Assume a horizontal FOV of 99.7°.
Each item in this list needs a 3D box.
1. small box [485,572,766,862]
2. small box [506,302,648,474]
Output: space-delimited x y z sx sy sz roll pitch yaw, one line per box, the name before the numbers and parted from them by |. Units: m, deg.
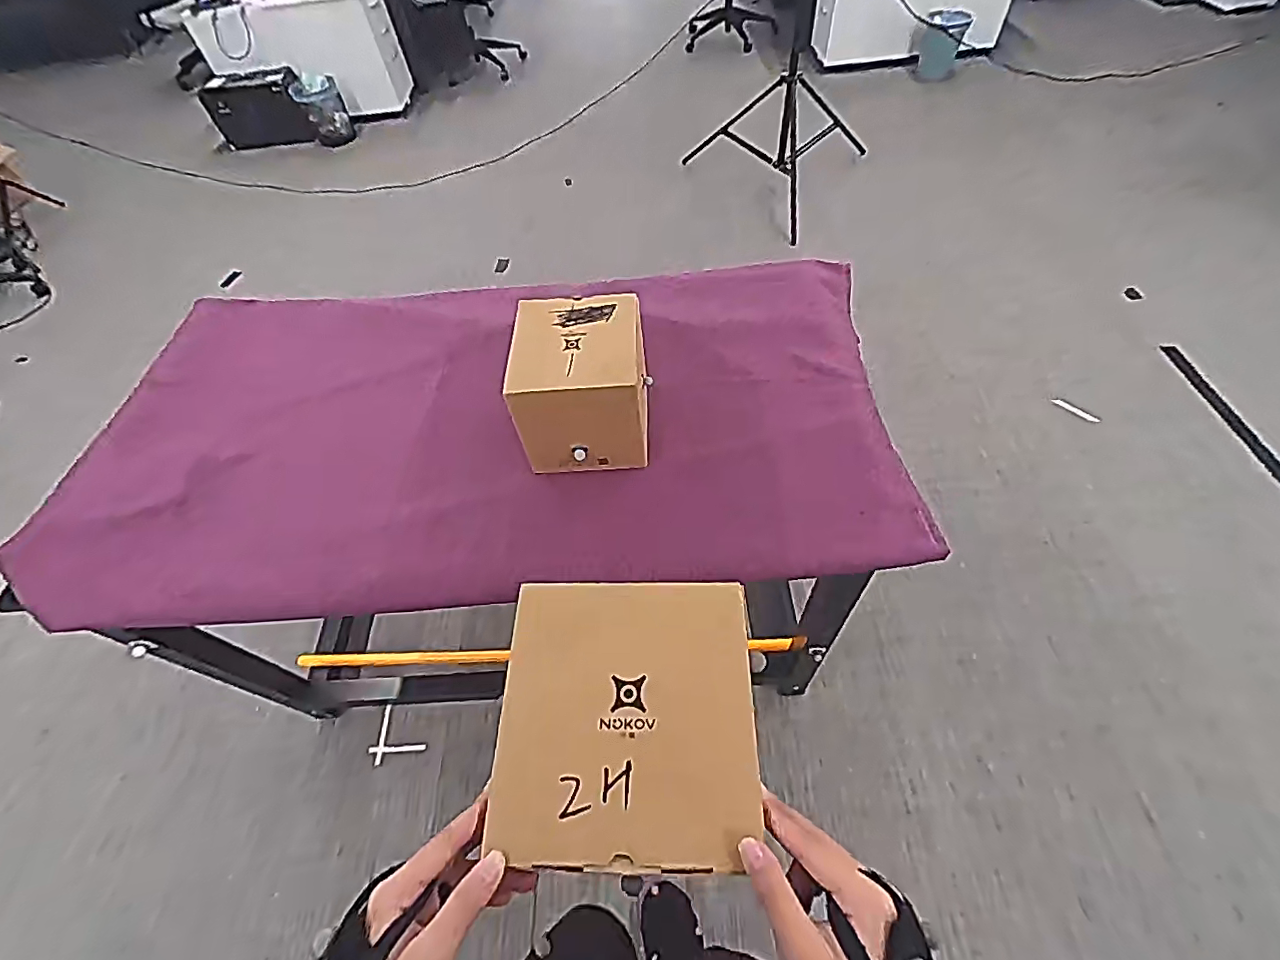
small box | -0.003 0.187 0.421 0.168 0.176 0.179 -1 55 4
small box | -0.077 -0.127 0.766 0.168 0.176 0.179 -3 54 4
